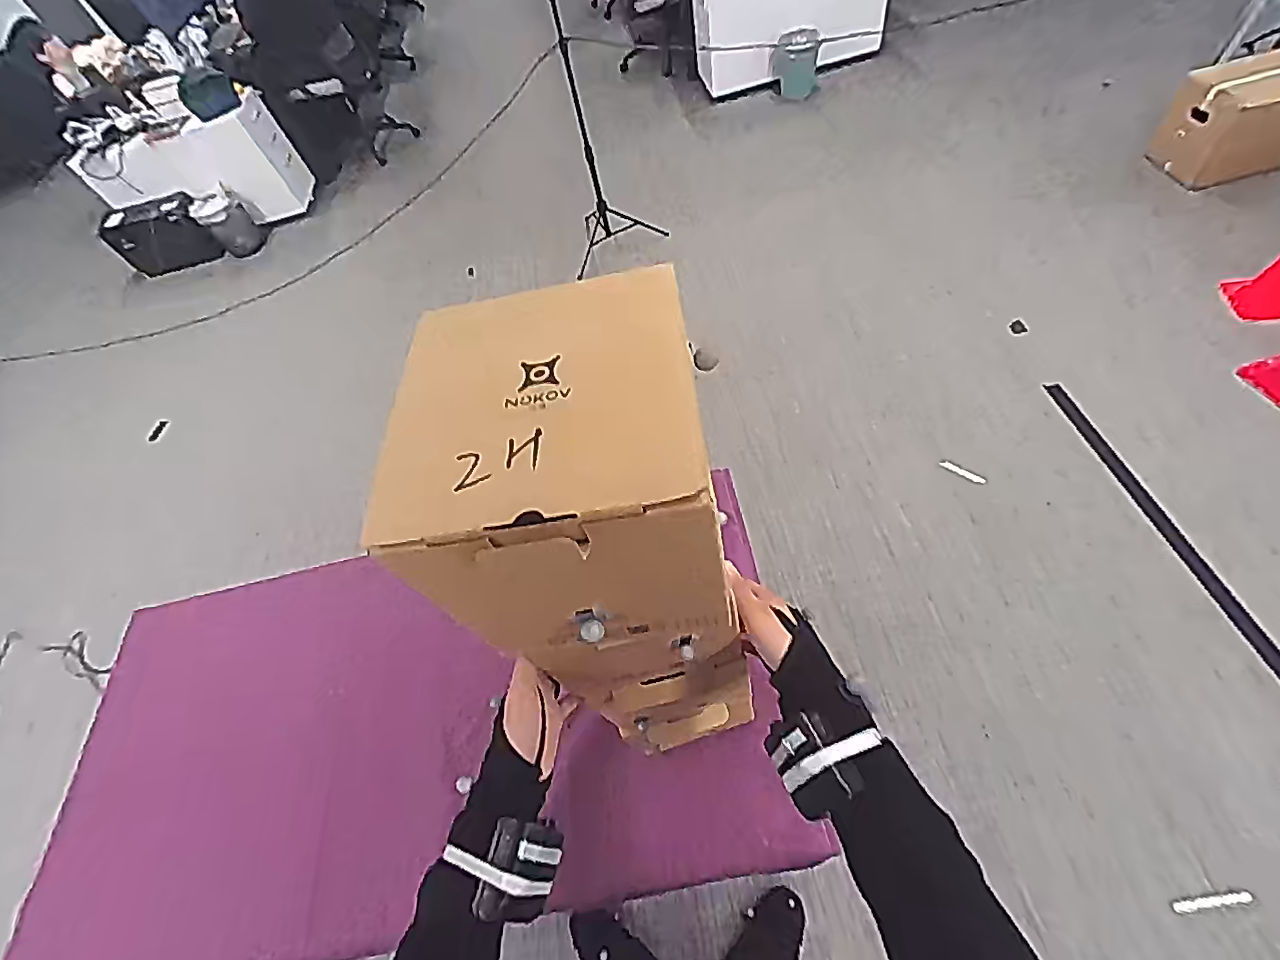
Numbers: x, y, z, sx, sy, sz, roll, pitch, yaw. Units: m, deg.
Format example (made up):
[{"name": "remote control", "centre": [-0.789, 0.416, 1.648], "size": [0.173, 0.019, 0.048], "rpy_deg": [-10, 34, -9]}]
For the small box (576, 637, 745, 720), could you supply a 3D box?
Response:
[{"name": "small box", "centre": [0.020, 0.167, 0.630], "size": [0.168, 0.176, 0.179], "rpy_deg": [-15, 54, 3]}]

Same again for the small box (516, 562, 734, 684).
[{"name": "small box", "centre": [-0.014, 0.076, 0.500], "size": [0.168, 0.176, 0.179], "rpy_deg": [-14, 54, 3]}]

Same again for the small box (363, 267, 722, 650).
[{"name": "small box", "centre": [-0.041, -0.005, 0.358], "size": [0.168, 0.176, 0.179], "rpy_deg": [-9, 55, 7]}]
